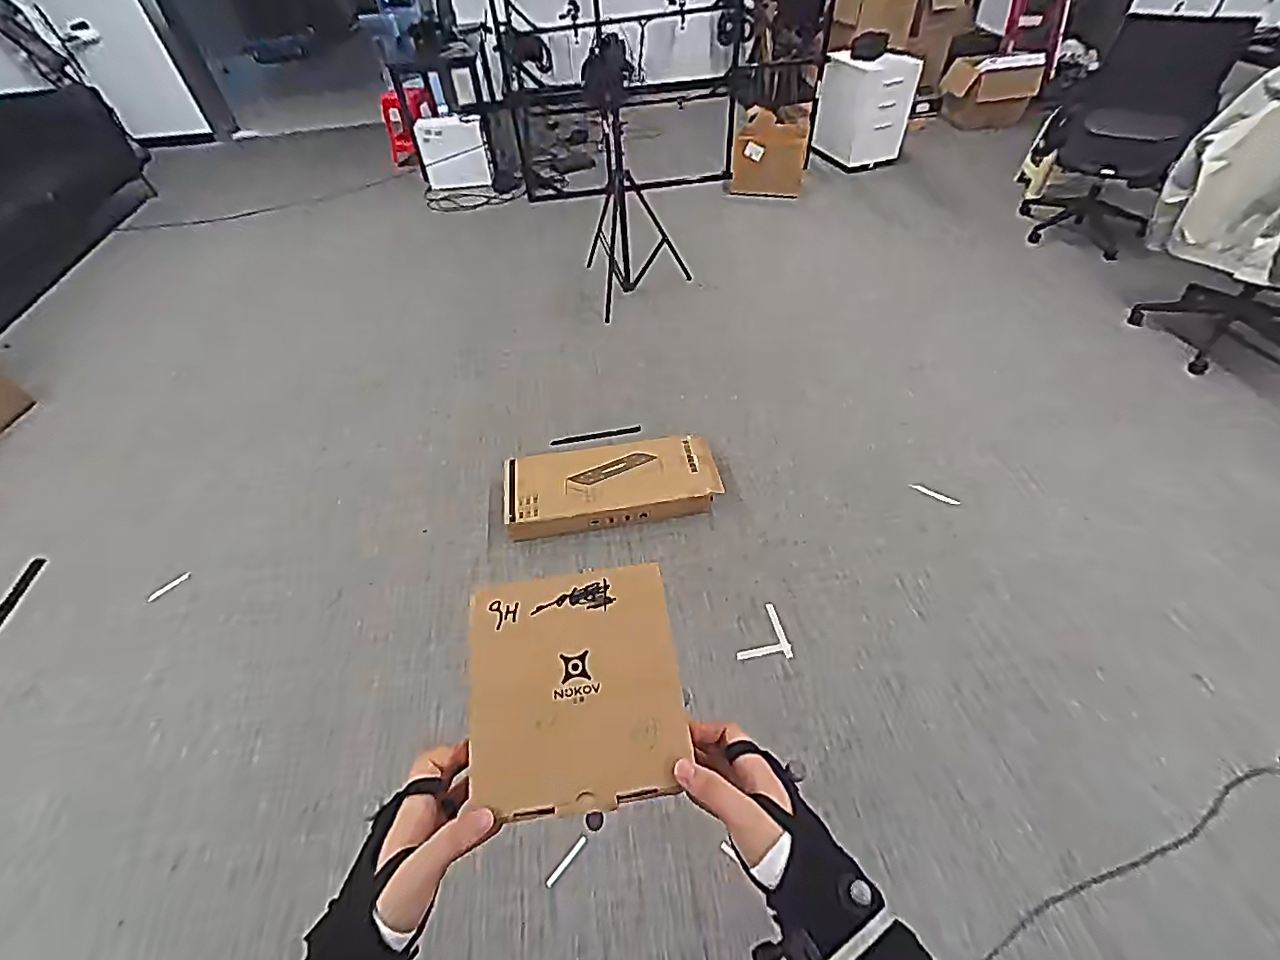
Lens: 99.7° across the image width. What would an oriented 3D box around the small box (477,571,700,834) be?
[{"bbox_3d":[-0.046,0.203,0.496,0.168,0.176,0.179,-8,60,-5],"label":"small box"}]
